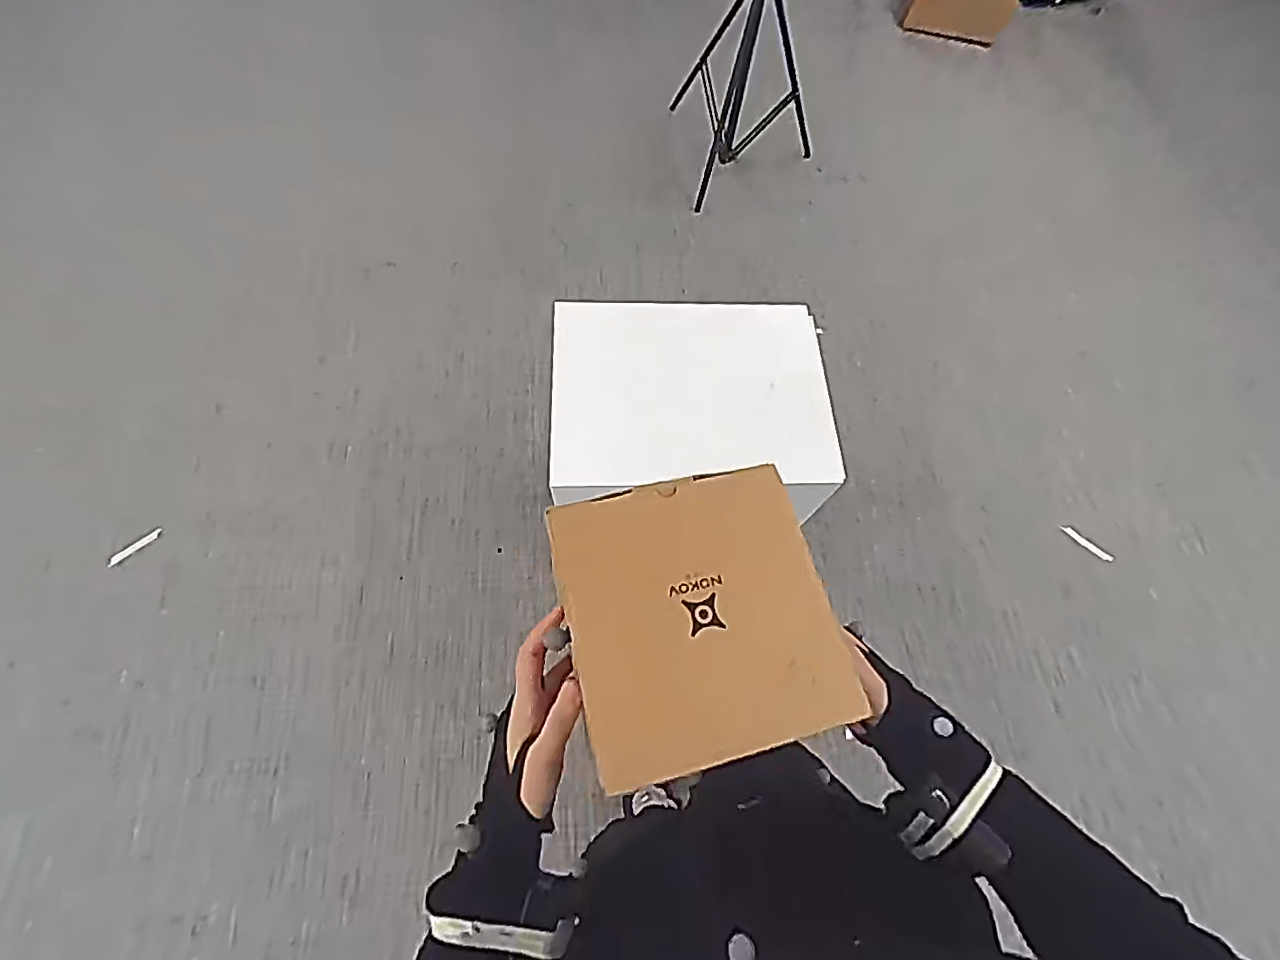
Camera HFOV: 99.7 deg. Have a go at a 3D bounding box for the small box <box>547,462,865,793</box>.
[{"bbox_3d":[0.030,0.112,0.413,0.168,0.176,0.179,-12,67,-11],"label":"small box"}]
